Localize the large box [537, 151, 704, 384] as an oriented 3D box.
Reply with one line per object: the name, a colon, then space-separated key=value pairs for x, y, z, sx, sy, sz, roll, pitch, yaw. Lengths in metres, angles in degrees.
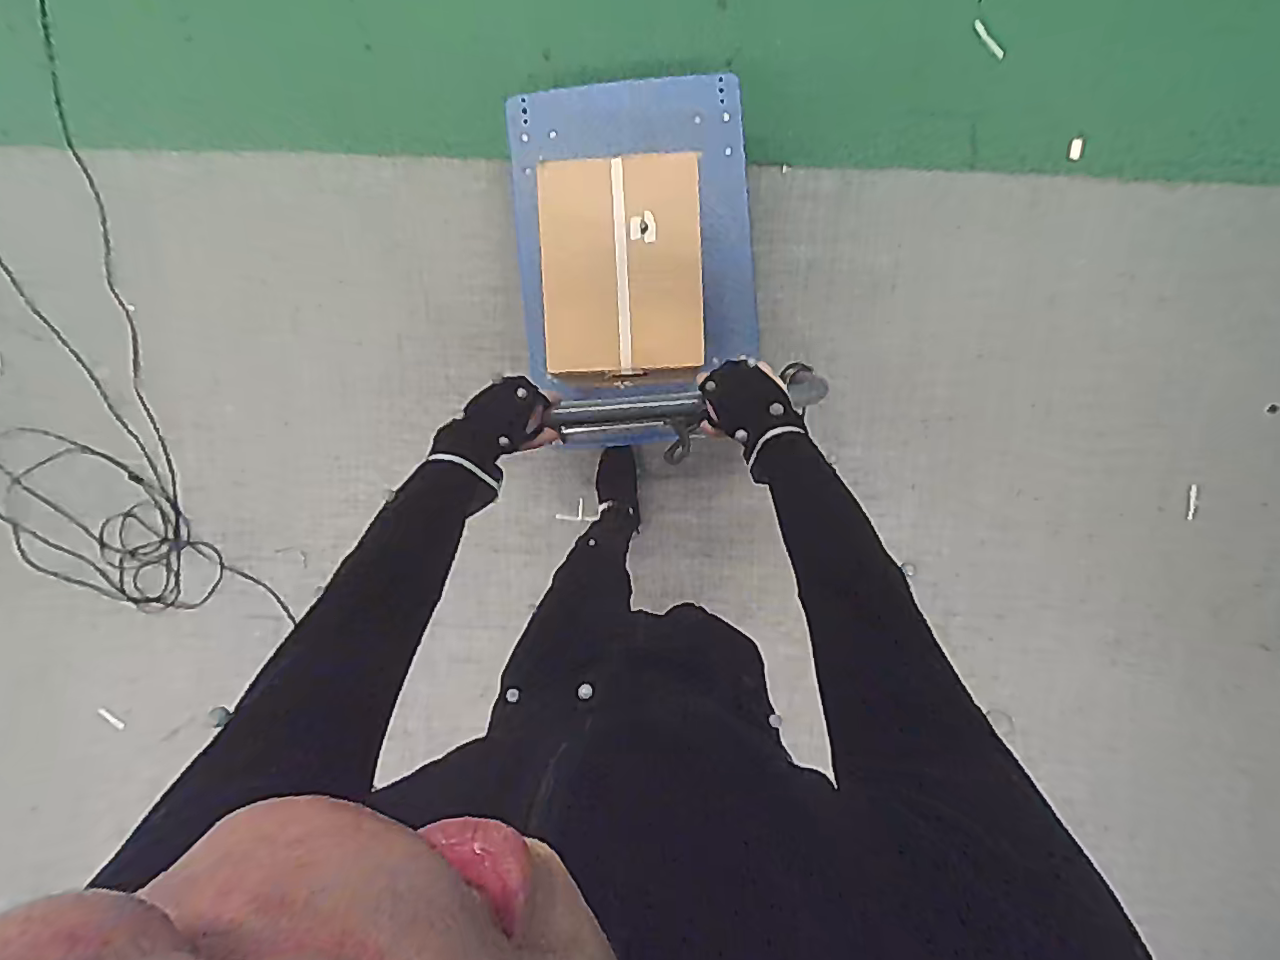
large box: x=-0.032 y=-0.436 z=1.202 sx=0.320 sy=0.320 sz=0.408 roll=-2 pitch=94 yaw=2
